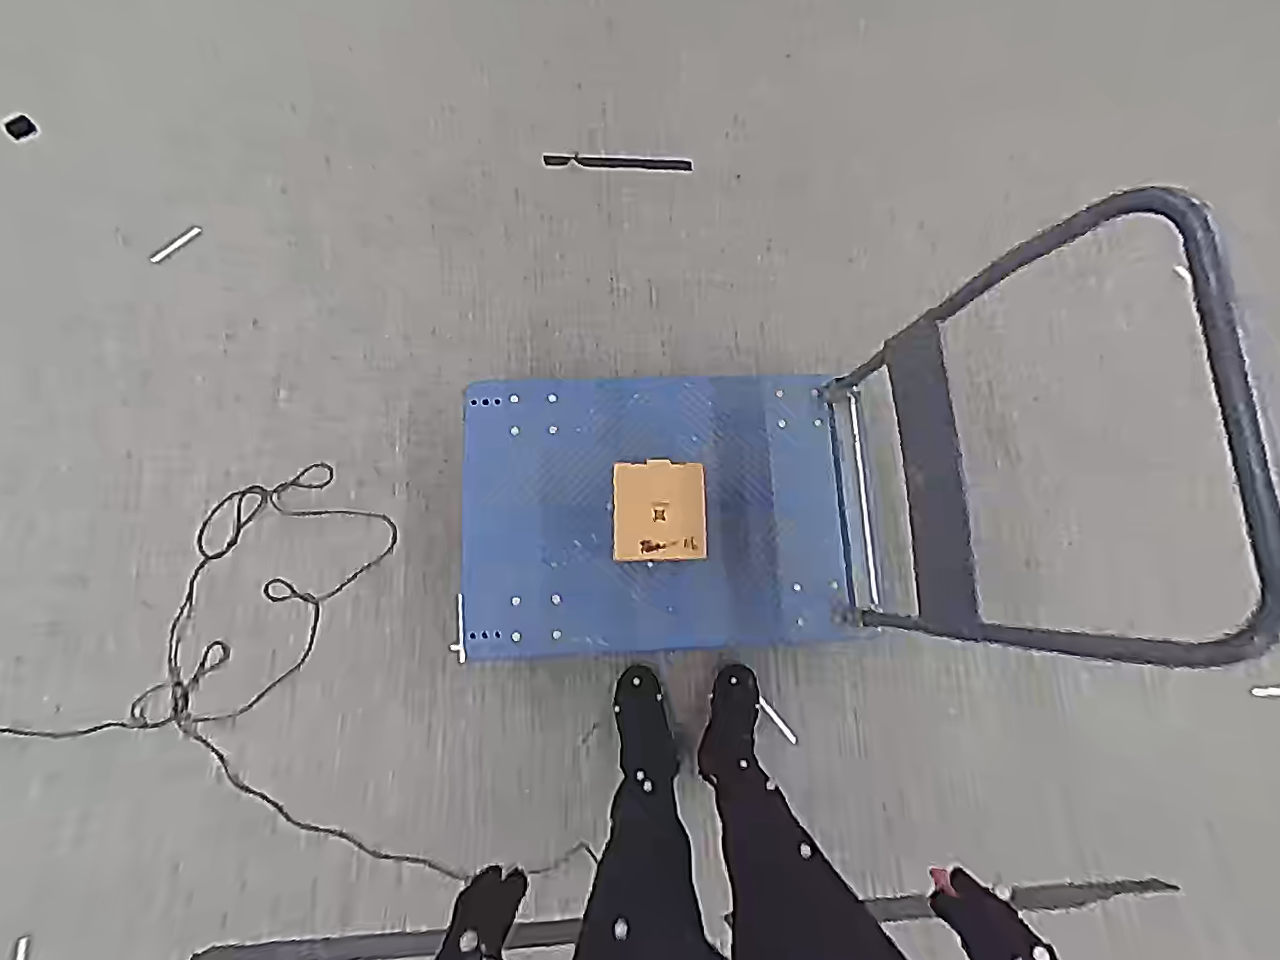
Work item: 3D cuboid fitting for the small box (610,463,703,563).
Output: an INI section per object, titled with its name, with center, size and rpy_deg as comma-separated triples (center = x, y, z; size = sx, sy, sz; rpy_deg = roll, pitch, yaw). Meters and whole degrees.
[small box]
center = 0.026, 0.070, 1.053
size = 0.168, 0.176, 0.179
rpy_deg = 0, 80, -3
